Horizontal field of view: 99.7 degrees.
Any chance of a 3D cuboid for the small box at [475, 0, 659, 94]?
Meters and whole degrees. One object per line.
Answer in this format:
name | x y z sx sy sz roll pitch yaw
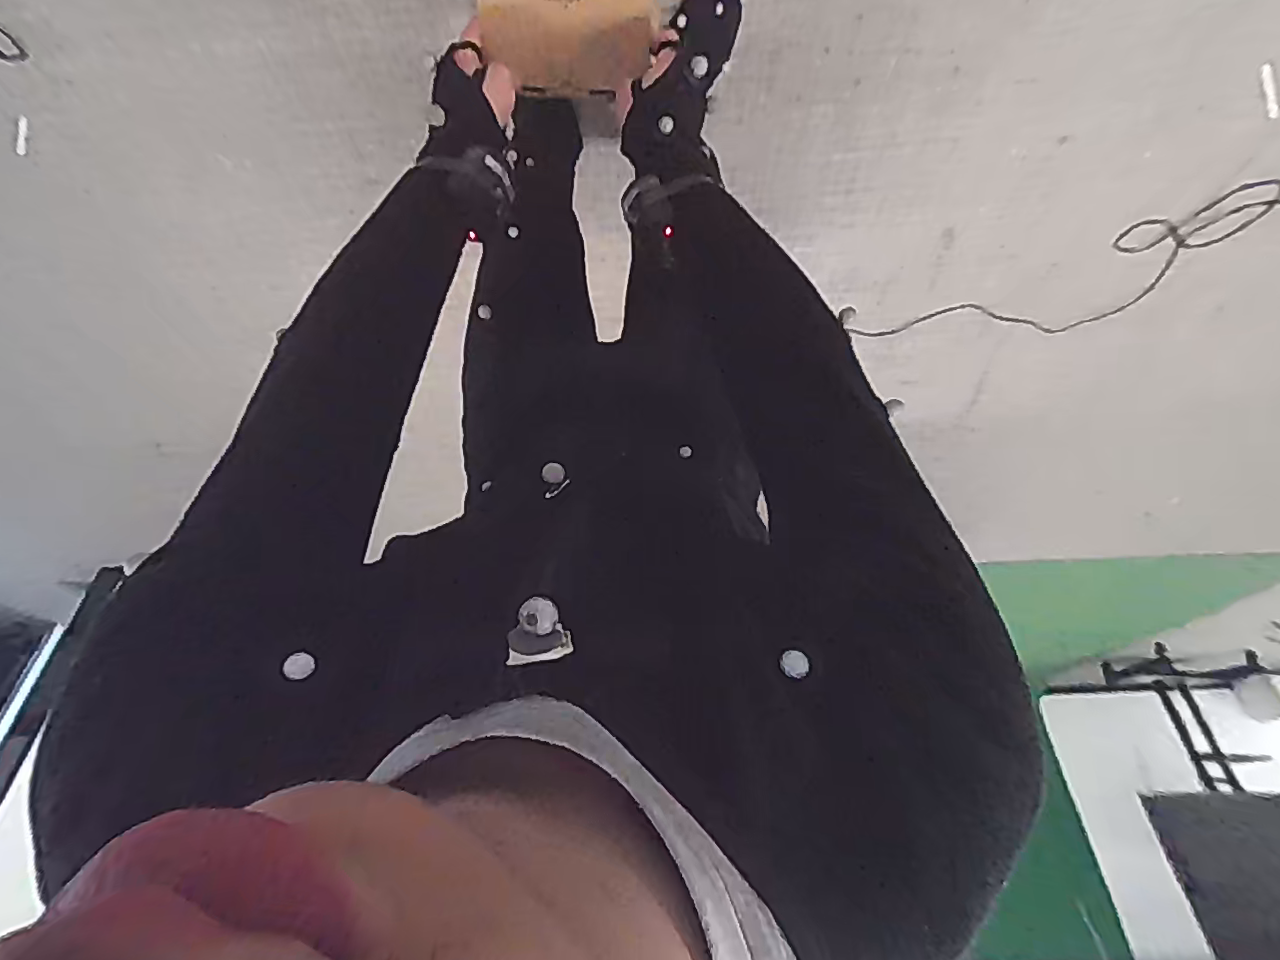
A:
small box | -0.066 -0.501 0.549 0.168 0.176 0.179 2 124 3
